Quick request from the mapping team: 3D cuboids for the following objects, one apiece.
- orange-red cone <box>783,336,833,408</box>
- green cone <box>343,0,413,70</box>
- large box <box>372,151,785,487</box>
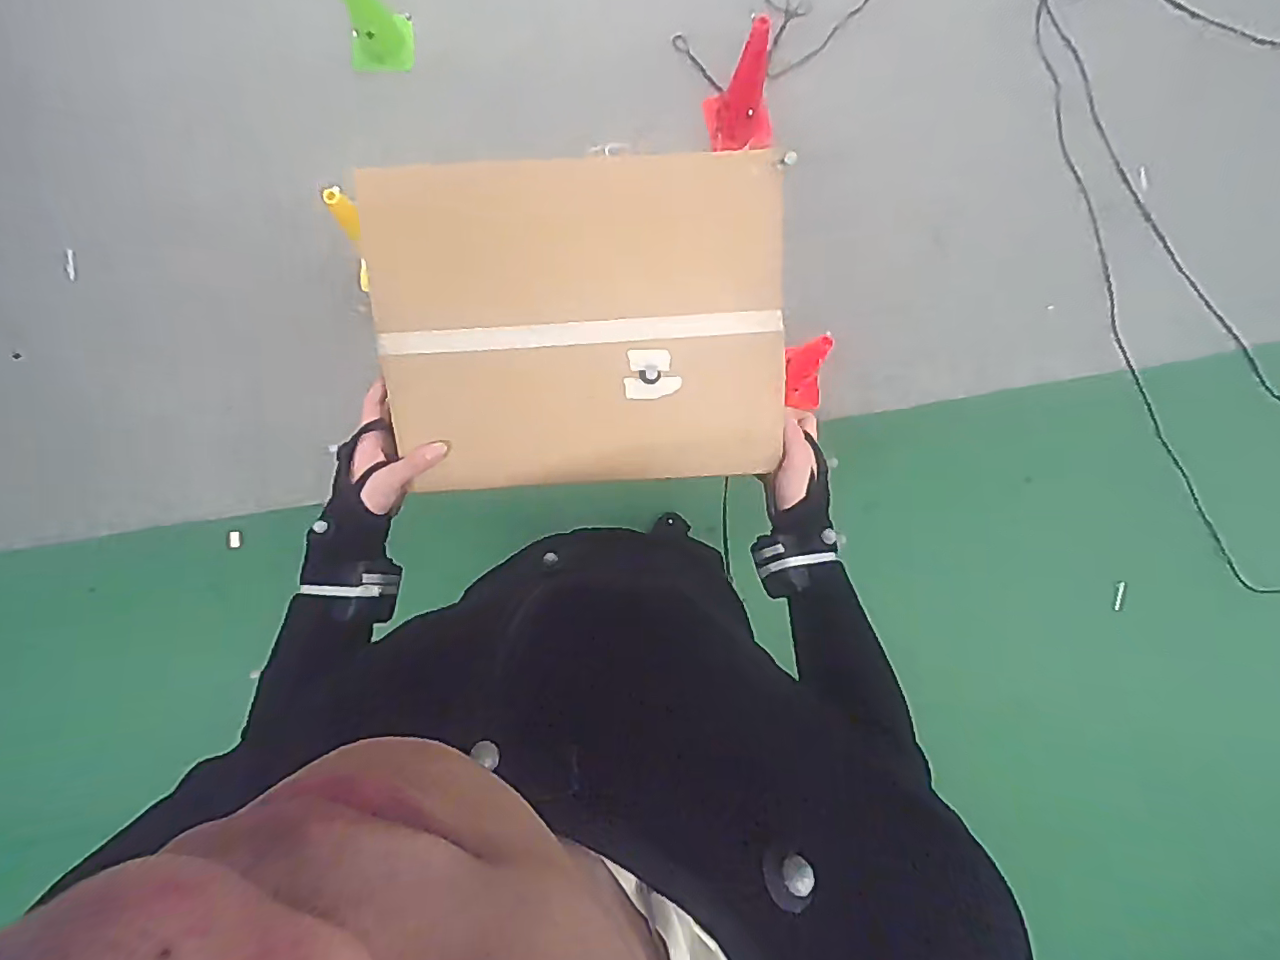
[{"bbox_3d":[0.461,-0.332,1.517,0.199,0.360,0.198,-2,86,-2],"label":"orange-red cone"},{"bbox_3d":[-0.845,-1.453,1.598,0.200,0.368,0.202,-3,87,0],"label":"green cone"},{"bbox_3d":[-0.057,-0.187,0.696,0.408,0.320,0.320,-3,104,-1],"label":"large box"}]
